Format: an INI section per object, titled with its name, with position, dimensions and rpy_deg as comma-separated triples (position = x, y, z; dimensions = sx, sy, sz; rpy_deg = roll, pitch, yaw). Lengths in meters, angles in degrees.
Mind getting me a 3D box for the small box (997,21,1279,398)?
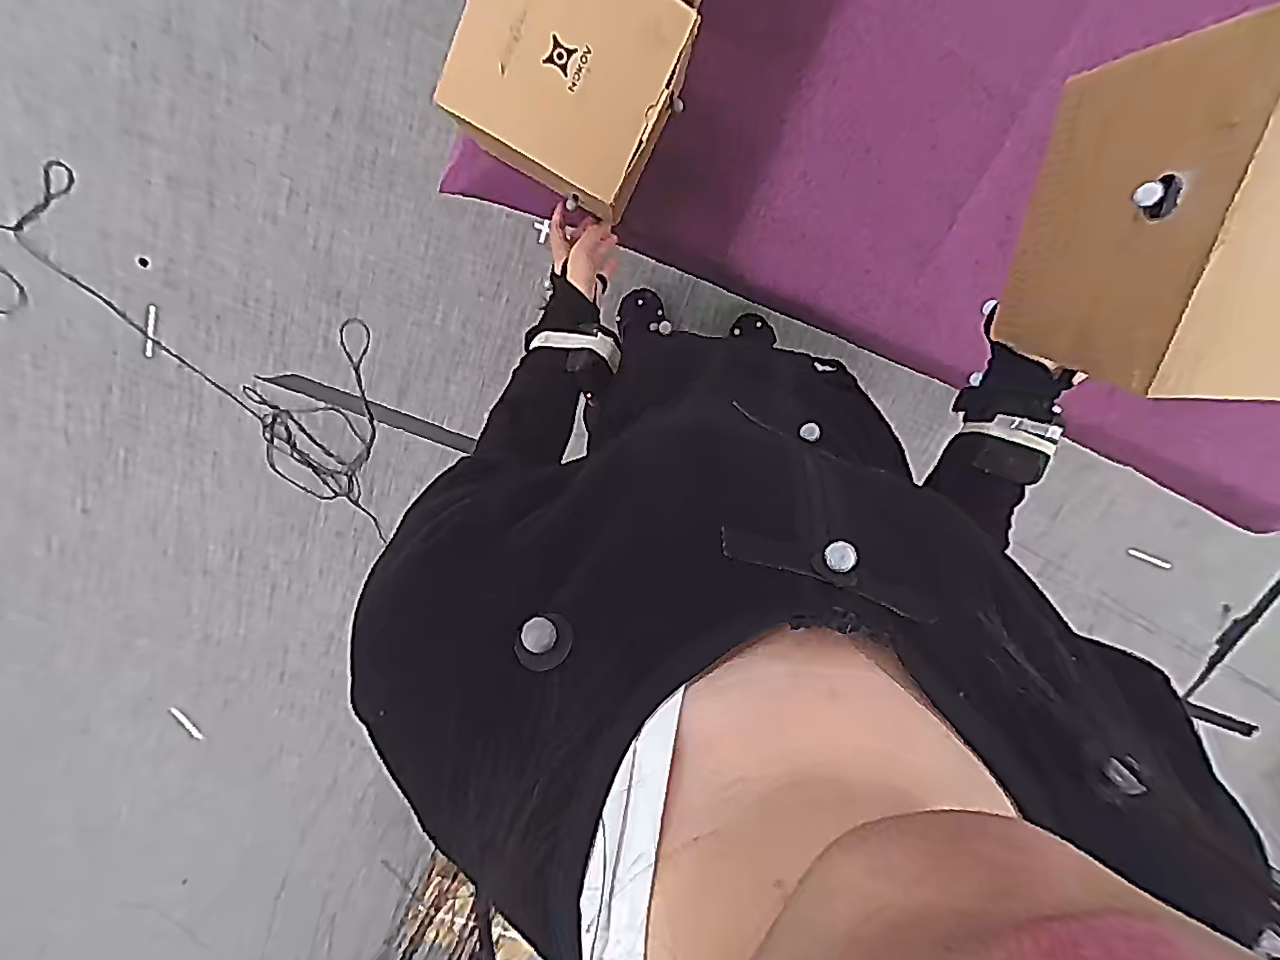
[small box]
position = 0.364, -0.158, 0.334
dimensions = 0.168, 0.176, 0.179
rpy_deg = 3, 116, 2
